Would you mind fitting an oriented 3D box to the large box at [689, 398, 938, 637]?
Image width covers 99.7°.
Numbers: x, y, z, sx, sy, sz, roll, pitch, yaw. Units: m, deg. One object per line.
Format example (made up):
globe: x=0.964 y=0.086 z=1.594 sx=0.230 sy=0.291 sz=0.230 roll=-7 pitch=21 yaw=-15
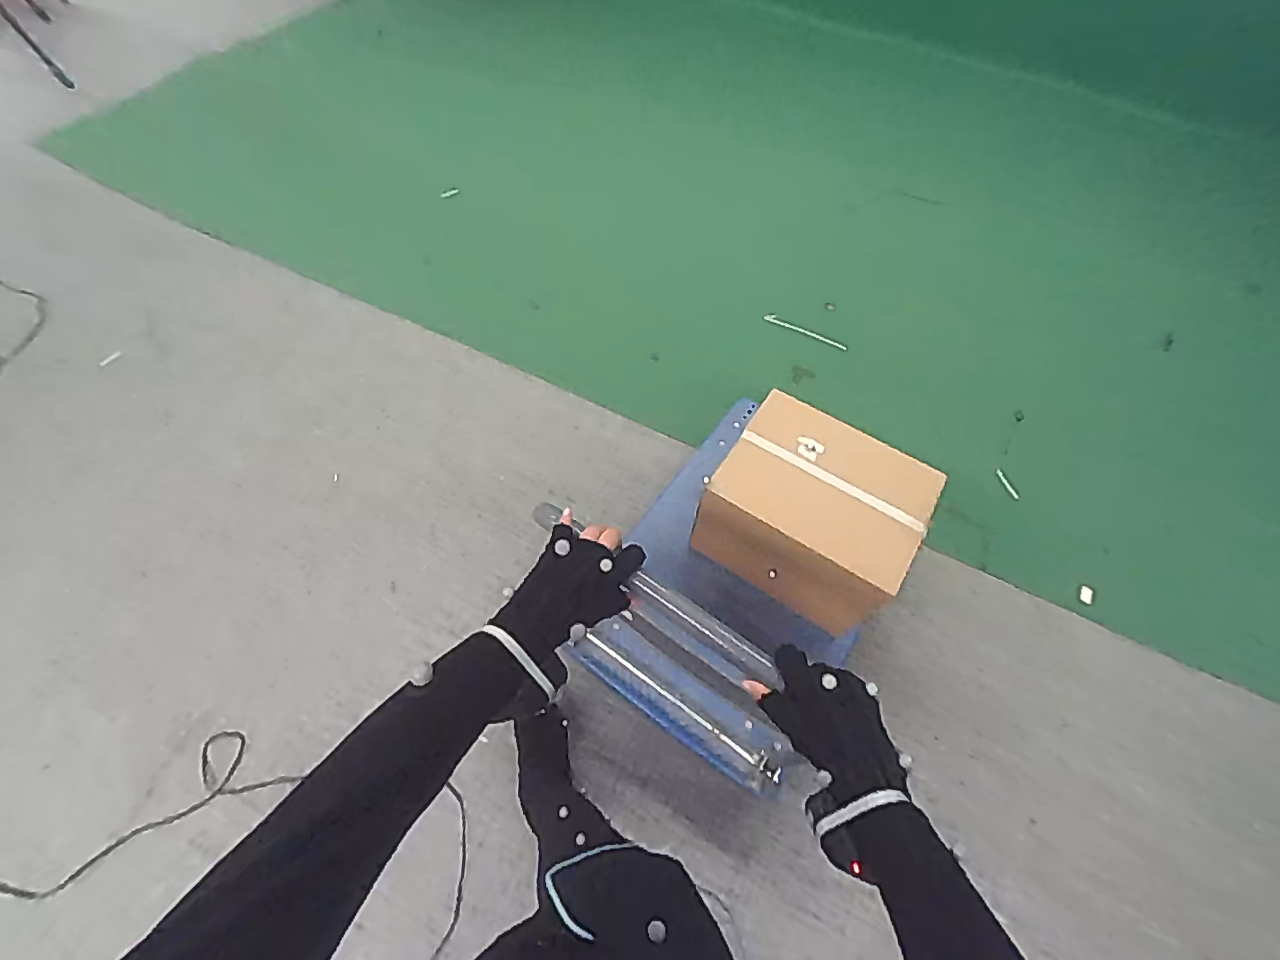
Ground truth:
large box: x=0.367 y=0.090 z=1.226 sx=0.408 sy=0.320 sz=0.320 roll=31 pitch=63 yaw=16
